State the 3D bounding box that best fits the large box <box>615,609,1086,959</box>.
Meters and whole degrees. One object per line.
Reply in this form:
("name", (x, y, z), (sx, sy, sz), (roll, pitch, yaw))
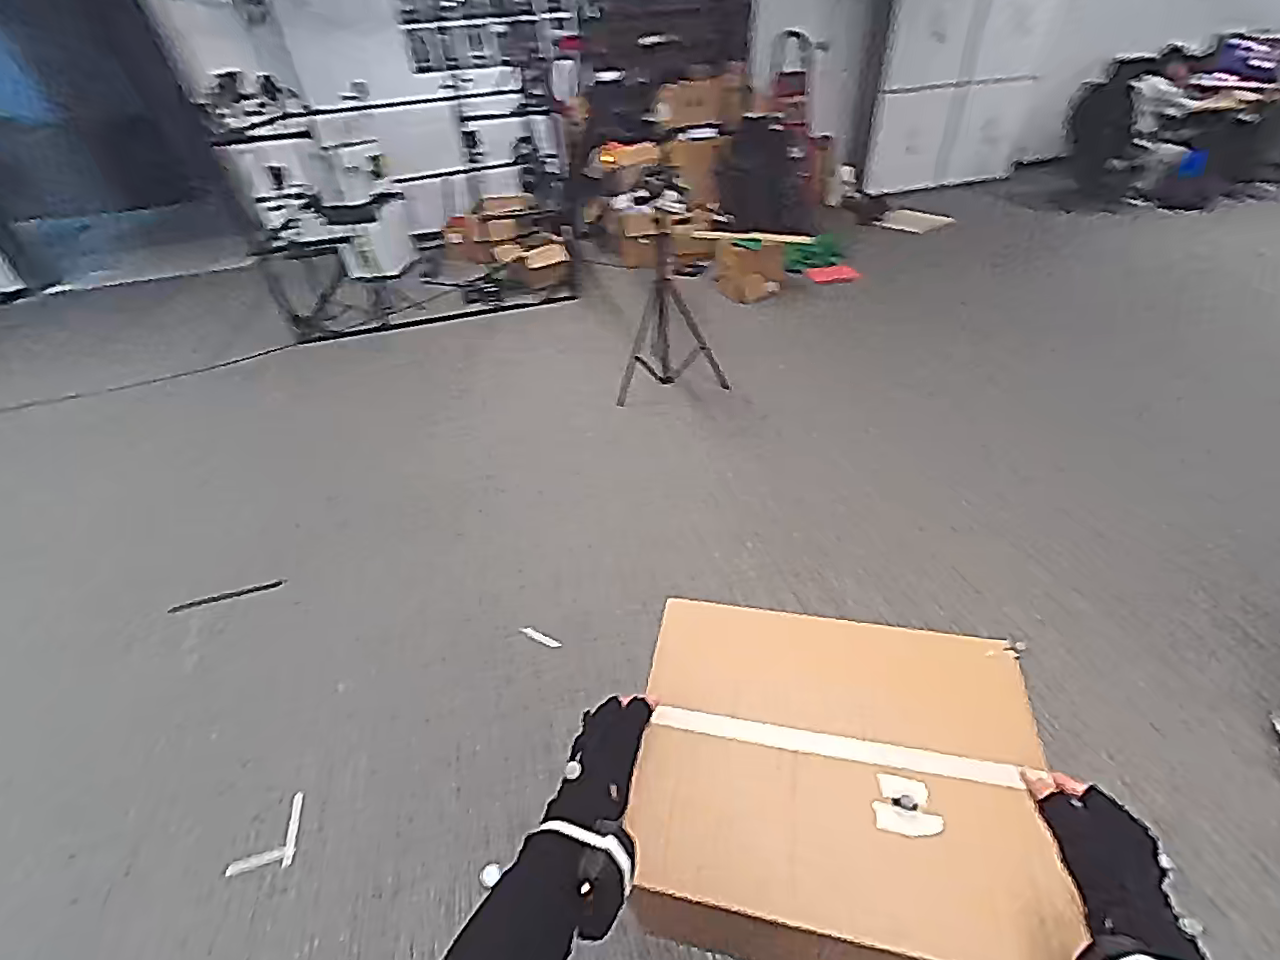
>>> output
("large box", (0.207, 0.393, 0.676), (0.408, 0.320, 0.320), (4, 44, 12))
